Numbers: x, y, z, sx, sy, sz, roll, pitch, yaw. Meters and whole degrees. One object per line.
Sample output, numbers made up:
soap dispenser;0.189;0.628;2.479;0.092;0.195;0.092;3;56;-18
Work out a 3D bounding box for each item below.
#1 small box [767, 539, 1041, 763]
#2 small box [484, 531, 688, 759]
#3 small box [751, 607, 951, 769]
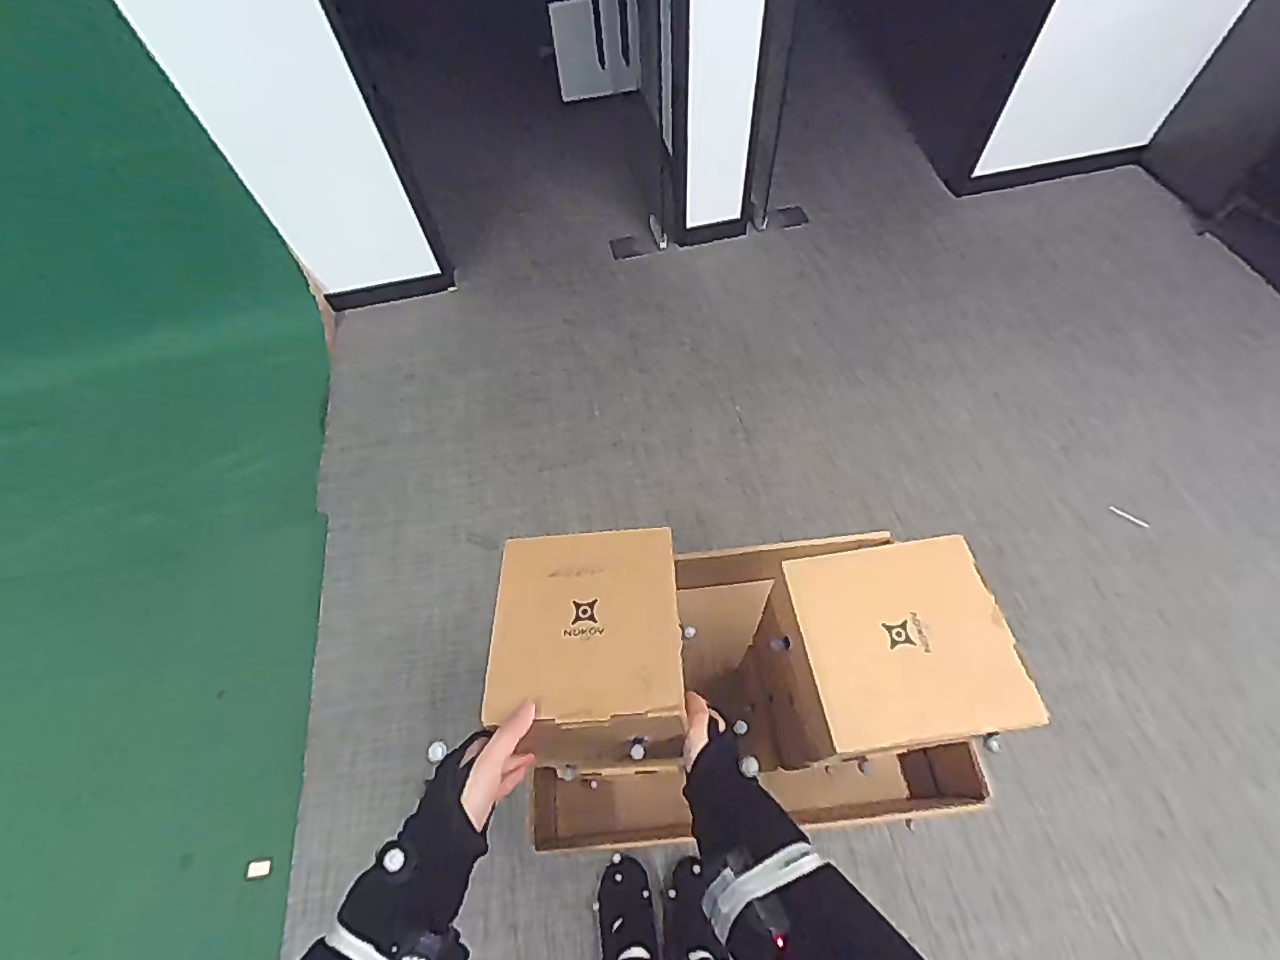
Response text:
small box;0.232;0.177;0.539;0.179;0.176;0.168;-8;60;-1
small box;-0.040;0.172;0.543;0.168;0.176;0.179;-3;52;3
small box;0.247;0.255;0.682;0.168;0.176;0.179;-8;61;-1
